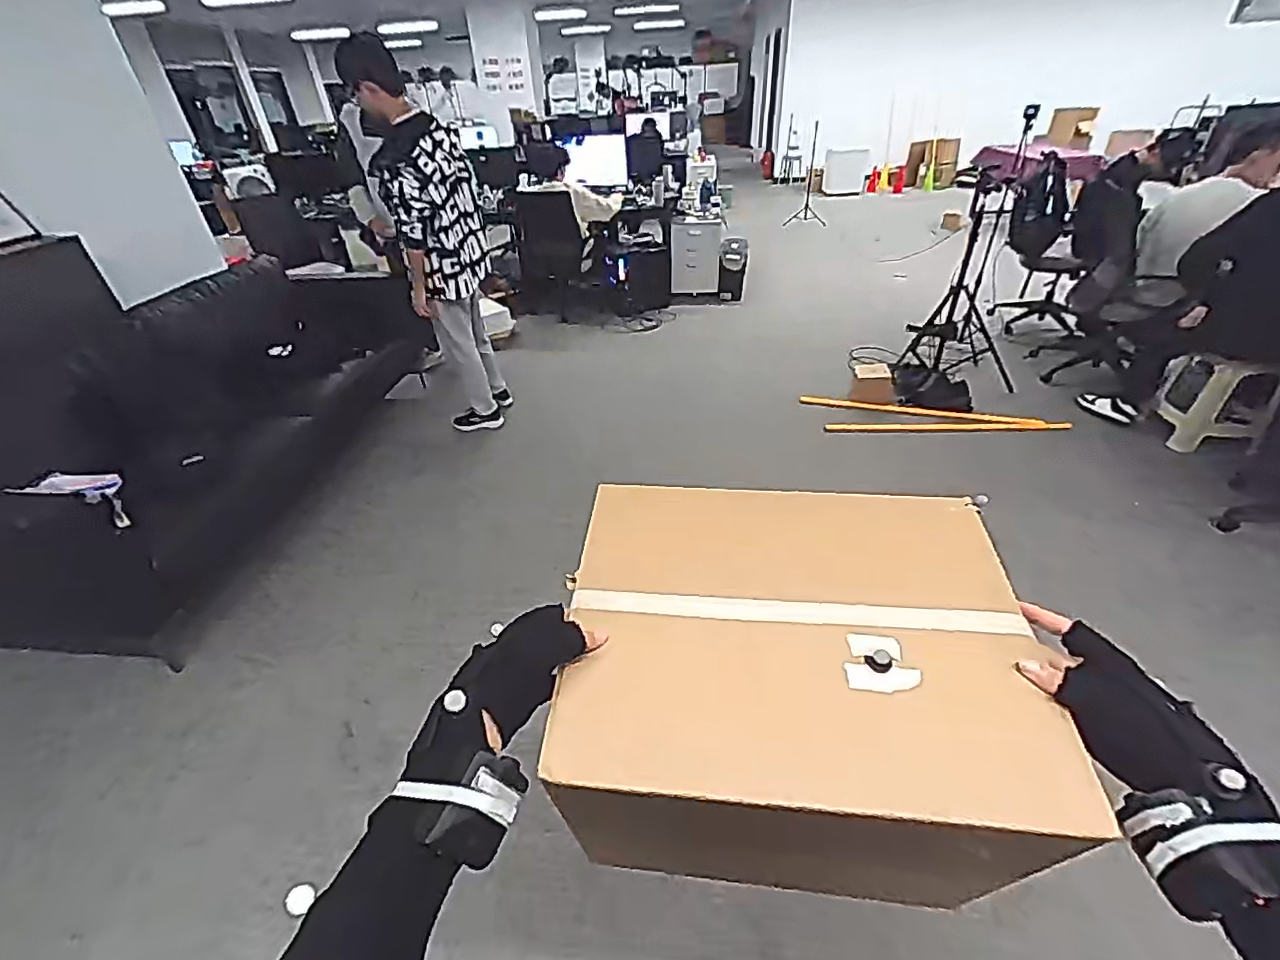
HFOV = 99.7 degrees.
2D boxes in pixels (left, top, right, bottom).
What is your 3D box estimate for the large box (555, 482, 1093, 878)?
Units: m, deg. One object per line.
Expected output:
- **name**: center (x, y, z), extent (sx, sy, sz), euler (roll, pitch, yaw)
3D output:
- **large box**: center (0.146, 0.220, 0.610), extent (0.408, 0.320, 0.320), euler (2, 46, 6)
